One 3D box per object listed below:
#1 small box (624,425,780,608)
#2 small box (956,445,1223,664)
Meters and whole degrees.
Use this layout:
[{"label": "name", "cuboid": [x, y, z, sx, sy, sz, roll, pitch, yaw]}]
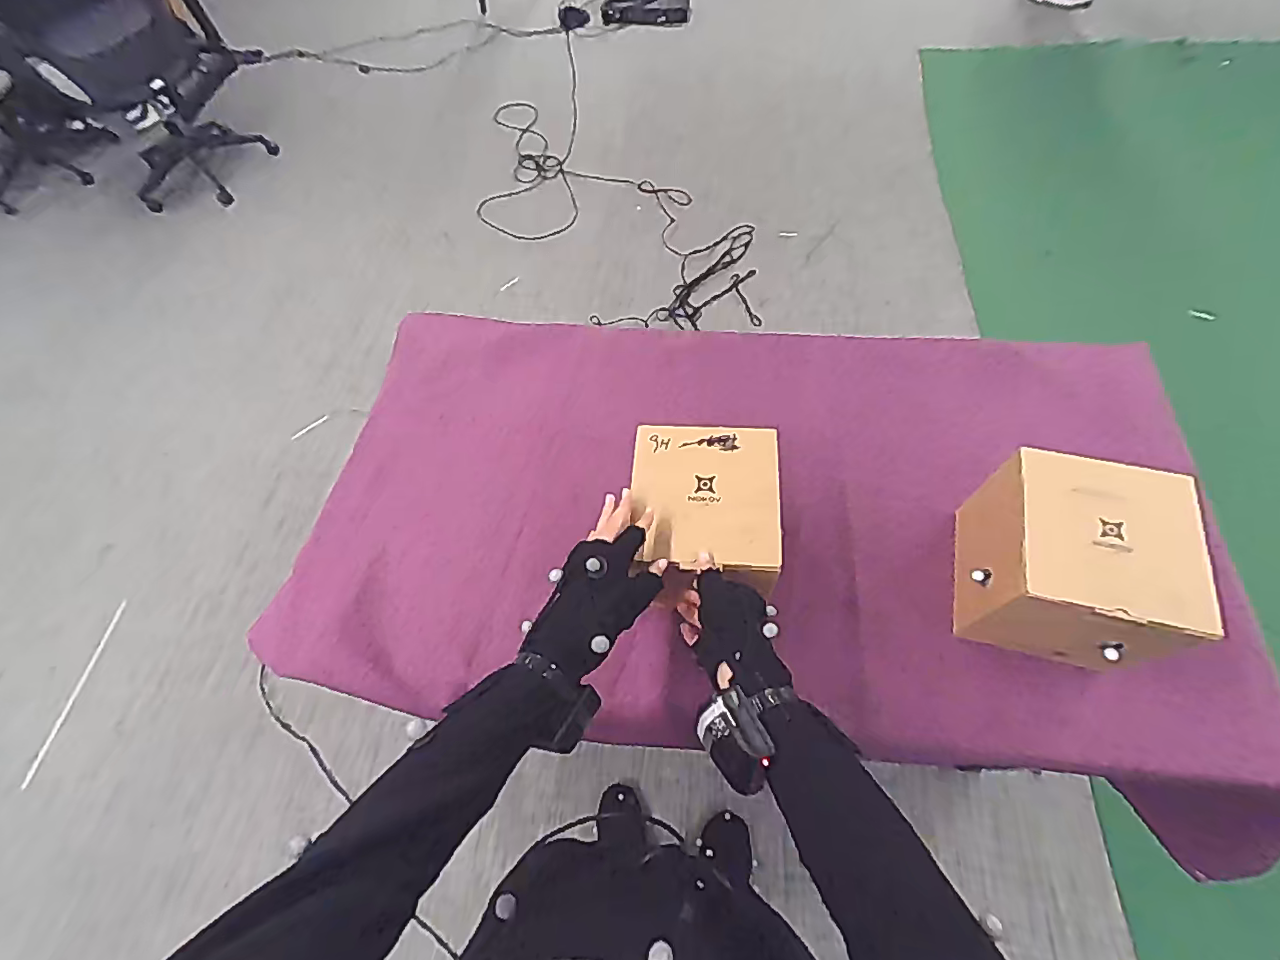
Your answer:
[{"label": "small box", "cuboid": [0.079, 0.051, 0.668, 0.168, 0.176, 0.179, 3, 62, 7]}, {"label": "small box", "cuboid": [0.477, 0.090, 0.607, 0.168, 0.176, 0.179, 13, 63, 12]}]
